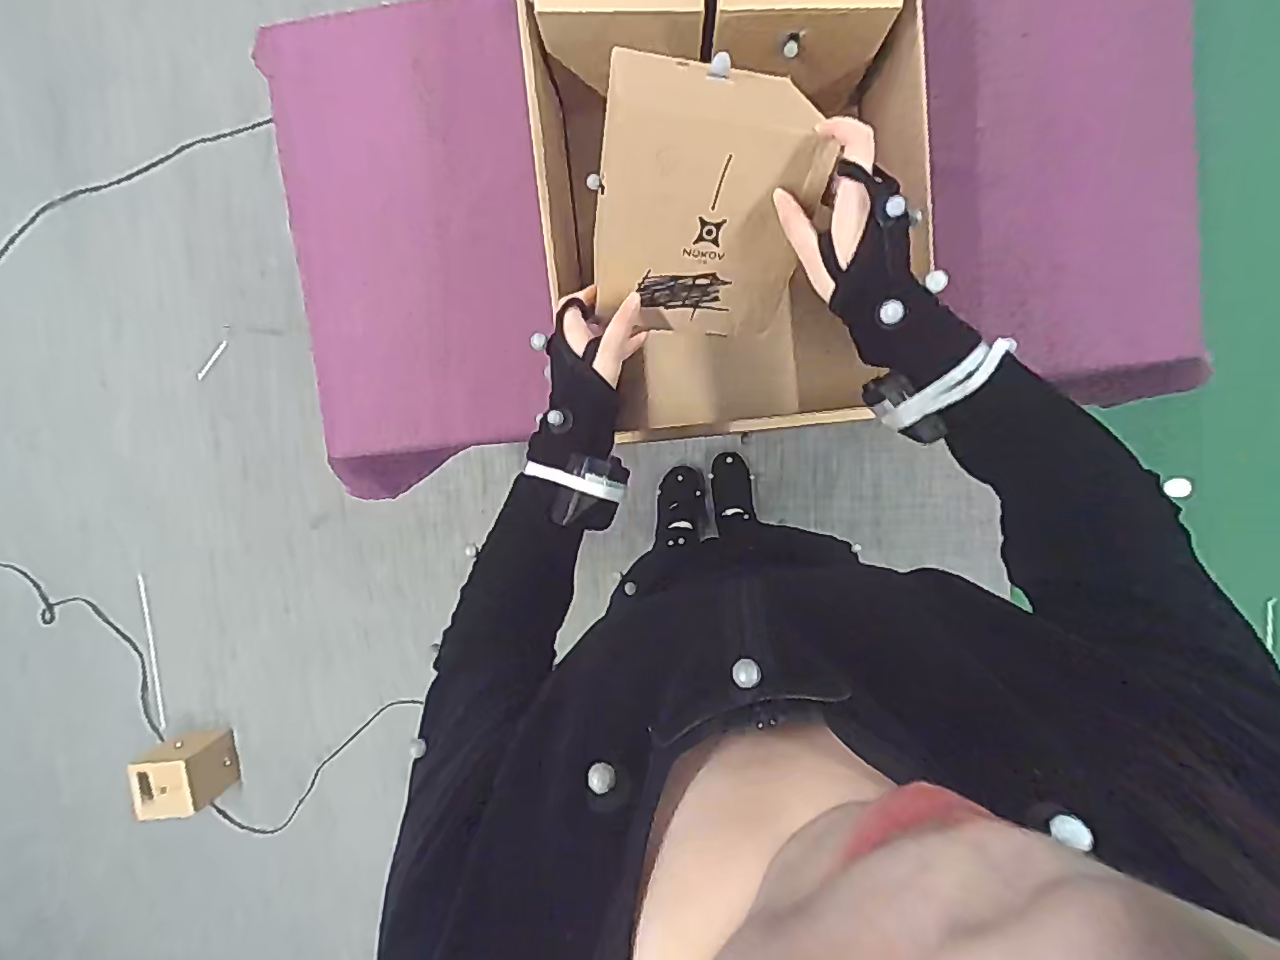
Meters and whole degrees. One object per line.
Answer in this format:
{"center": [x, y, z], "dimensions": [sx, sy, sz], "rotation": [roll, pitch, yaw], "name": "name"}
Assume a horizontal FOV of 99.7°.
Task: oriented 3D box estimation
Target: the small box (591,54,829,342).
{"center": [0.046, -0.256, 0.501], "dimensions": [0.168, 0.176, 0.179], "rotation": [4, 139, -8], "name": "small box"}
